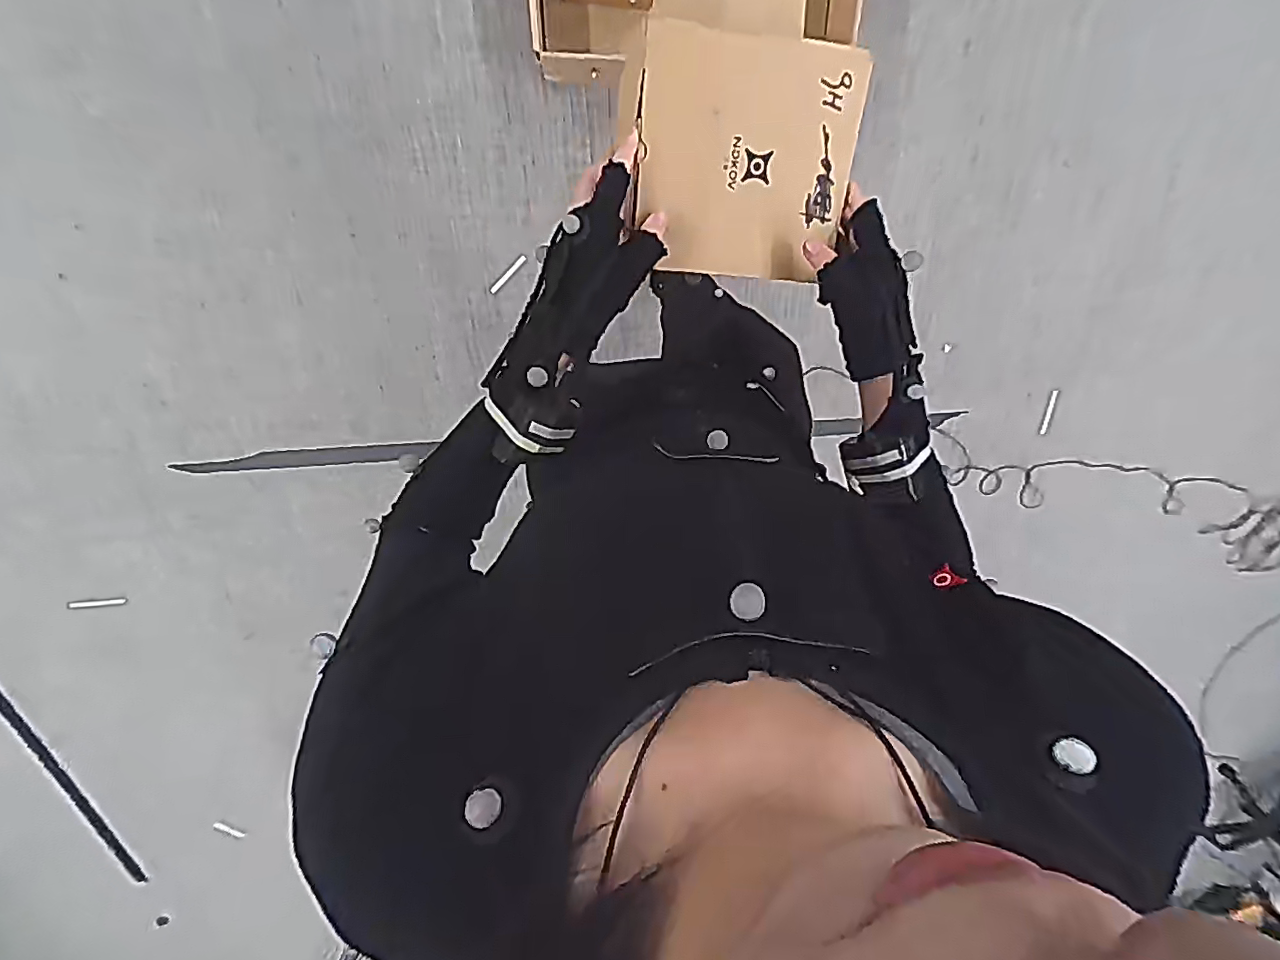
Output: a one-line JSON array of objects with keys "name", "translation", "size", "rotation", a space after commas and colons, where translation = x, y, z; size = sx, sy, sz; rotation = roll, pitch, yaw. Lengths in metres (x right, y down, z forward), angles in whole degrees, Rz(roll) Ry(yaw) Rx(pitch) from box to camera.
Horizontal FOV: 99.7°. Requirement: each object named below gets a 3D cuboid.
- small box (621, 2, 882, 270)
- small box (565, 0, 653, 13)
[{"name": "small box", "translation": [0.078, -0.285, 0.489], "size": [0.179, 0.176, 0.168], "rotation": [1, 113, -8]}, {"name": "small box", "translation": [-0.051, -0.980, 0.978], "size": [0.179, 0.176, 0.168], "rotation": [0, 115, -6]}]
